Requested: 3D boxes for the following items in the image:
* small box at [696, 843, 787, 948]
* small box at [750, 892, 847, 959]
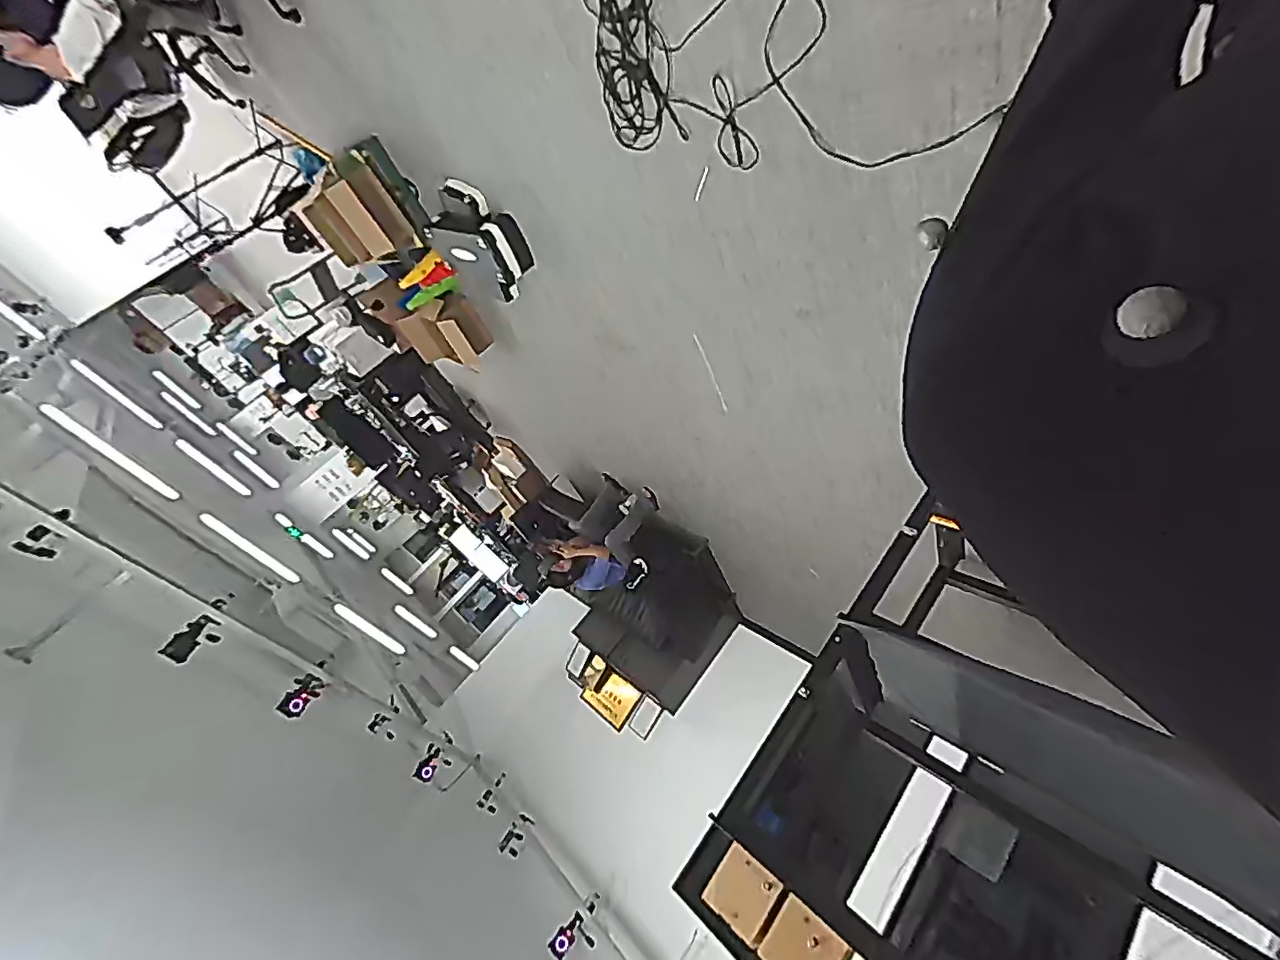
[{"bbox_3d":[0.288,1.158,1.512,0.168,0.176,0.179,23,153,42],"label":"small box"},{"bbox_3d":[0.413,1.206,1.387,0.168,0.176,0.179,24,153,41],"label":"small box"}]
